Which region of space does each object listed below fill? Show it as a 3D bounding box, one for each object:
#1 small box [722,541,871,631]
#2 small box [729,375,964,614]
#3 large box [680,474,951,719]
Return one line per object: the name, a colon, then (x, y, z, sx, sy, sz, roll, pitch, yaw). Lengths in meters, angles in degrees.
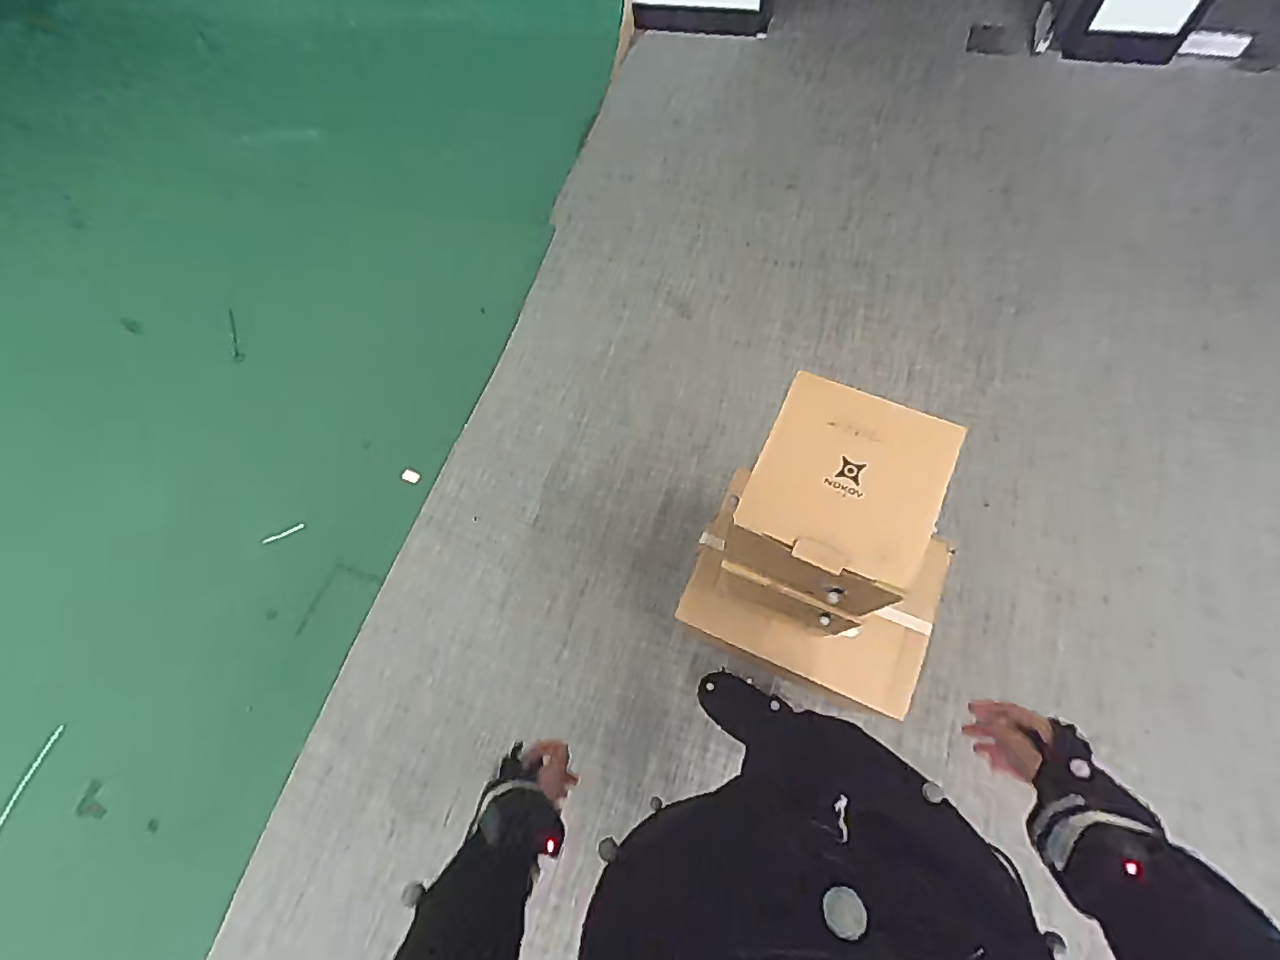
small box: (0.215, 0.092, 0.721, 0.179, 0.176, 0.168, 20, 73, 13)
small box: (0.201, 0.026, 0.573, 0.168, 0.176, 0.179, 23, 73, 13)
large box: (0.322, 0.236, 1.091, 0.408, 0.320, 0.320, 22, 75, 14)
